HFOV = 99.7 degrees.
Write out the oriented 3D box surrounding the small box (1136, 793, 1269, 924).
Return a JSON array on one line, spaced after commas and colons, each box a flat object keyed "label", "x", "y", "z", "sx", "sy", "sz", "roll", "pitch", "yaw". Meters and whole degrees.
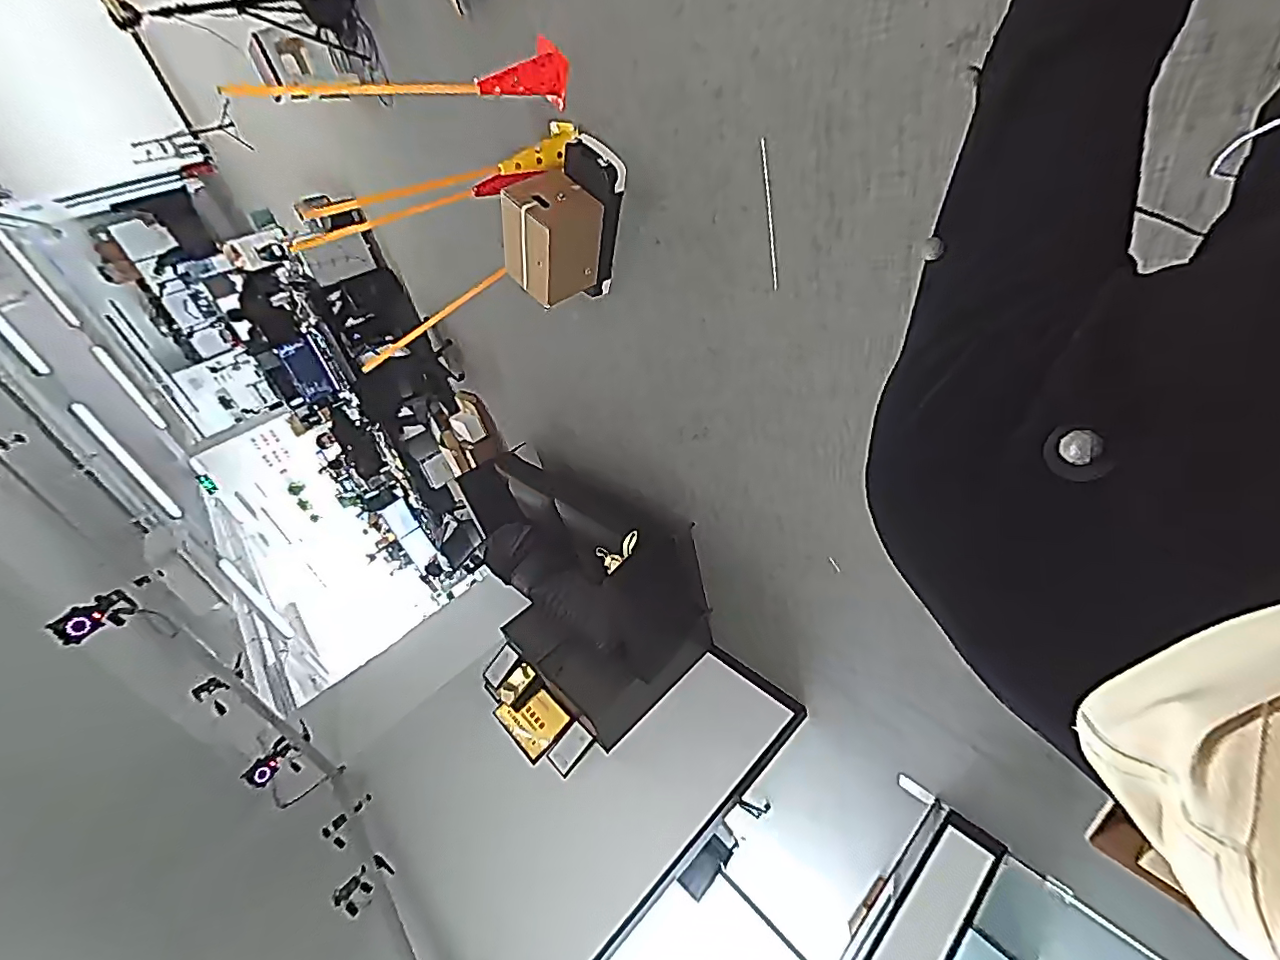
[{"label": "small box", "x": 1.372, "y": 0.917, "z": 1.321, "sx": 0.168, "sy": 0.176, "sz": 0.179, "roll": 28, "pitch": 142, "yaw": 43}]
